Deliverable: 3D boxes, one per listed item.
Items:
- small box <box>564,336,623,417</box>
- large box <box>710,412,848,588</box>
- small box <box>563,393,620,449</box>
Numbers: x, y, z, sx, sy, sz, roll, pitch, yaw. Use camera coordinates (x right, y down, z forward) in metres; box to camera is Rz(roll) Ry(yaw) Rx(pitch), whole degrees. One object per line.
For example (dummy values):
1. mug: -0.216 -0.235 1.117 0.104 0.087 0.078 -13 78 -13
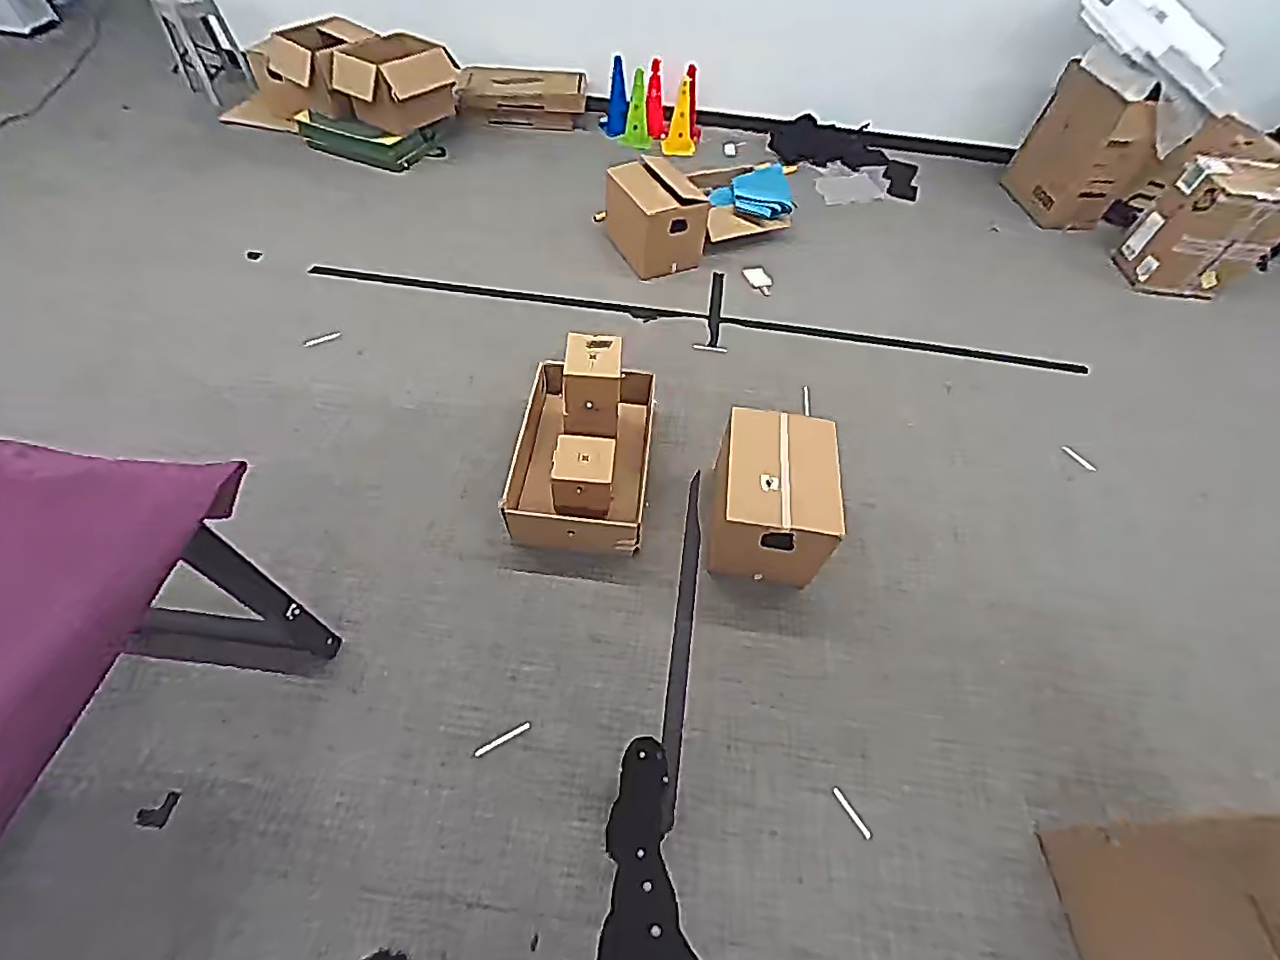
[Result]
1. small box: -0.141 -0.316 1.660 0.168 0.176 0.179 3 56 -3
2. large box: 0.392 0.062 1.615 0.320 0.320 0.408 8 56 2
3. small box: -0.161 -0.215 1.789 0.179 0.176 0.168 0 56 -5
